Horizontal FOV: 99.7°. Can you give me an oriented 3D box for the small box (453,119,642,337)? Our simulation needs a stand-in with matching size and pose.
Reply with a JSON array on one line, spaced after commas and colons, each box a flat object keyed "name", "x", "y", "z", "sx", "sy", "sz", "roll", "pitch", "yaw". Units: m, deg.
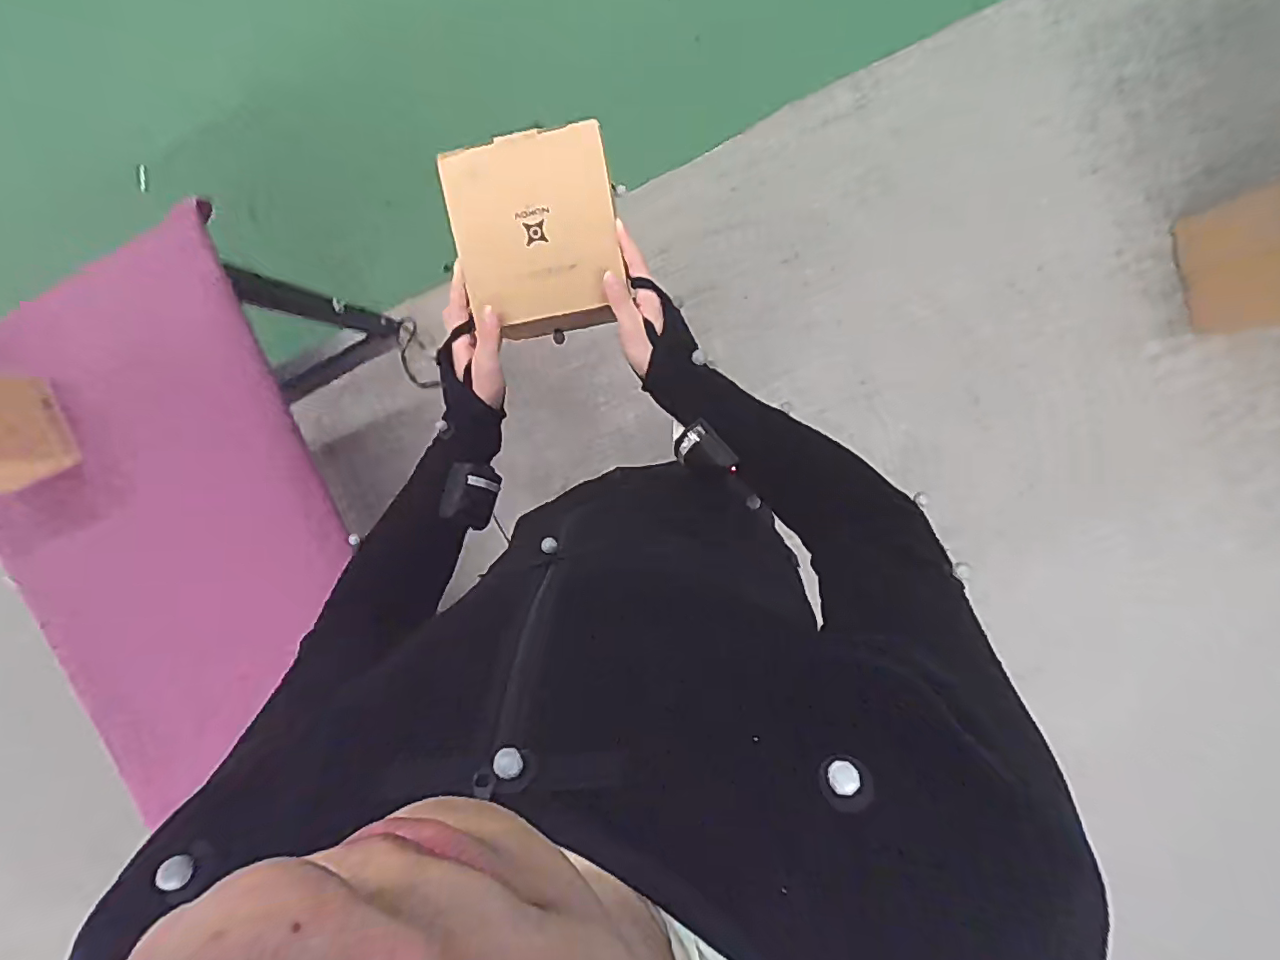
[{"name": "small box", "x": -0.091, "y": -0.269, "z": 0.620, "sx": 0.168, "sy": 0.176, "sz": 0.179, "roll": -9, "pitch": 101, "yaw": 4}]

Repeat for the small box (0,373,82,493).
[{"name": "small box", "x": -1.119, "y": -0.072, "z": 0.905, "sx": 0.179, "sy": 0.176, "sz": 0.168, "roll": -22, "pitch": 95, "yaw": 7}]
